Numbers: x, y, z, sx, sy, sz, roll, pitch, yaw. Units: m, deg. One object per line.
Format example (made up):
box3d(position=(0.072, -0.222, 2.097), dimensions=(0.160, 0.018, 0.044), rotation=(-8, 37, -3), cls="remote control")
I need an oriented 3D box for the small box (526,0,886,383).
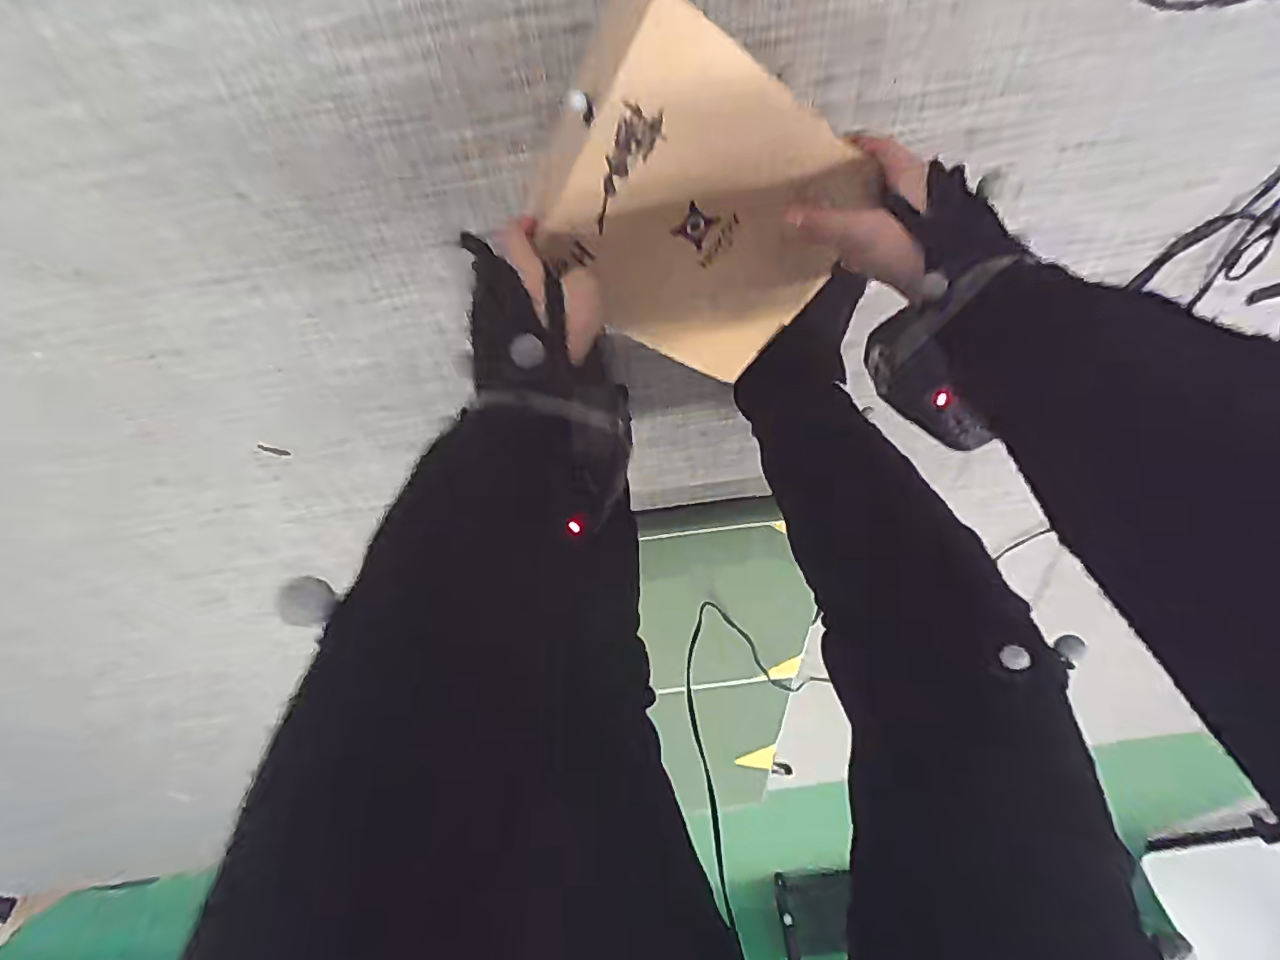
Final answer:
box3d(position=(0.032, -0.208, 0.397), dimensions=(0.179, 0.176, 0.168), rotation=(20, 129, -26), cls="small box")
